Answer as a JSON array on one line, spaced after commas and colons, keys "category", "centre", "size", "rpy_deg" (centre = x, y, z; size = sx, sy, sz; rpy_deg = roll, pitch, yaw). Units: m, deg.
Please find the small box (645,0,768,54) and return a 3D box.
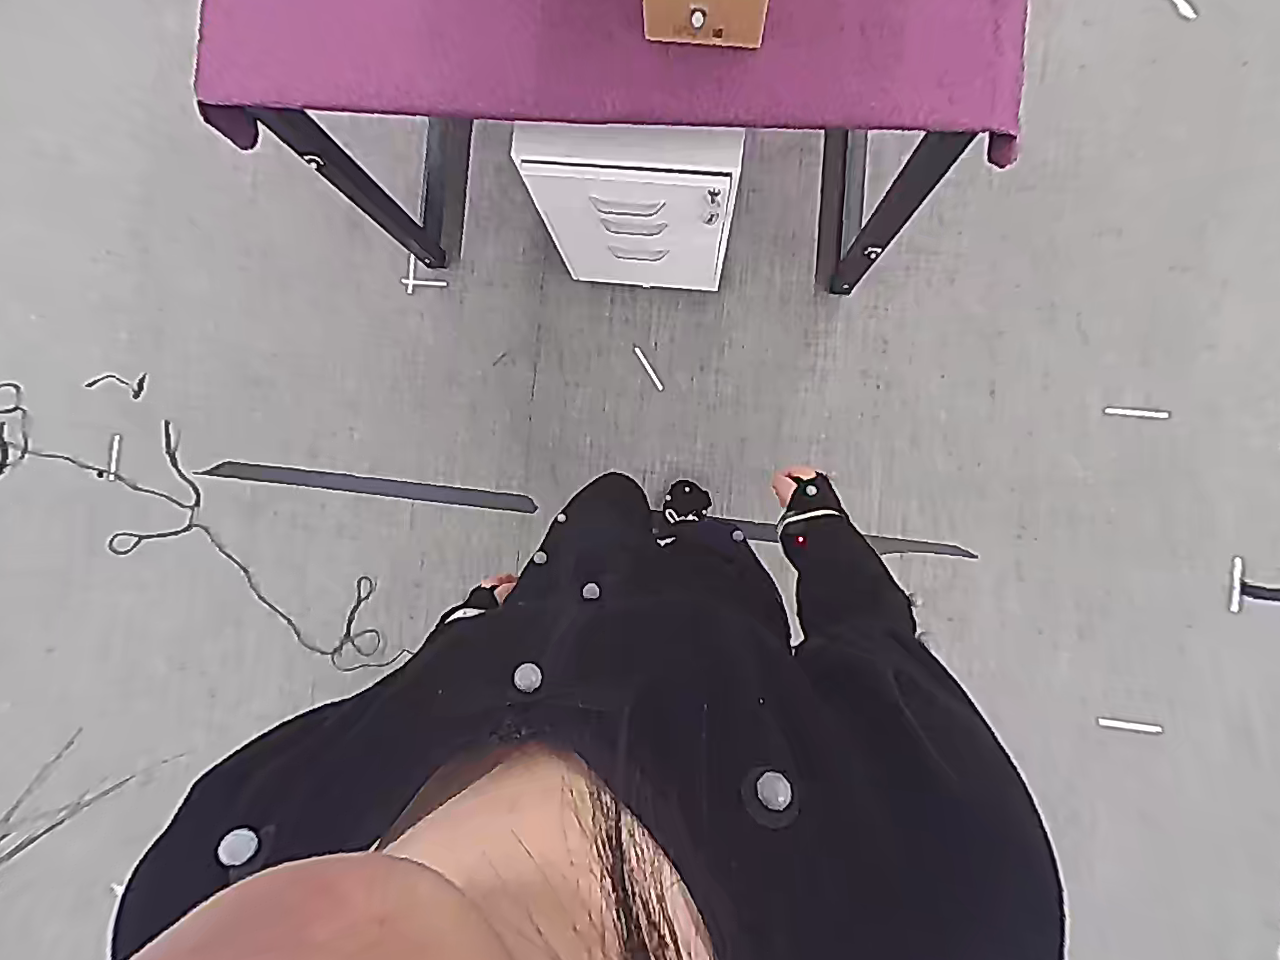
[{"category": "small box", "centre": [0.095, -0.703, 0.692], "size": [0.168, 0.176, 0.179], "rpy_deg": [9, 88, 5]}]
